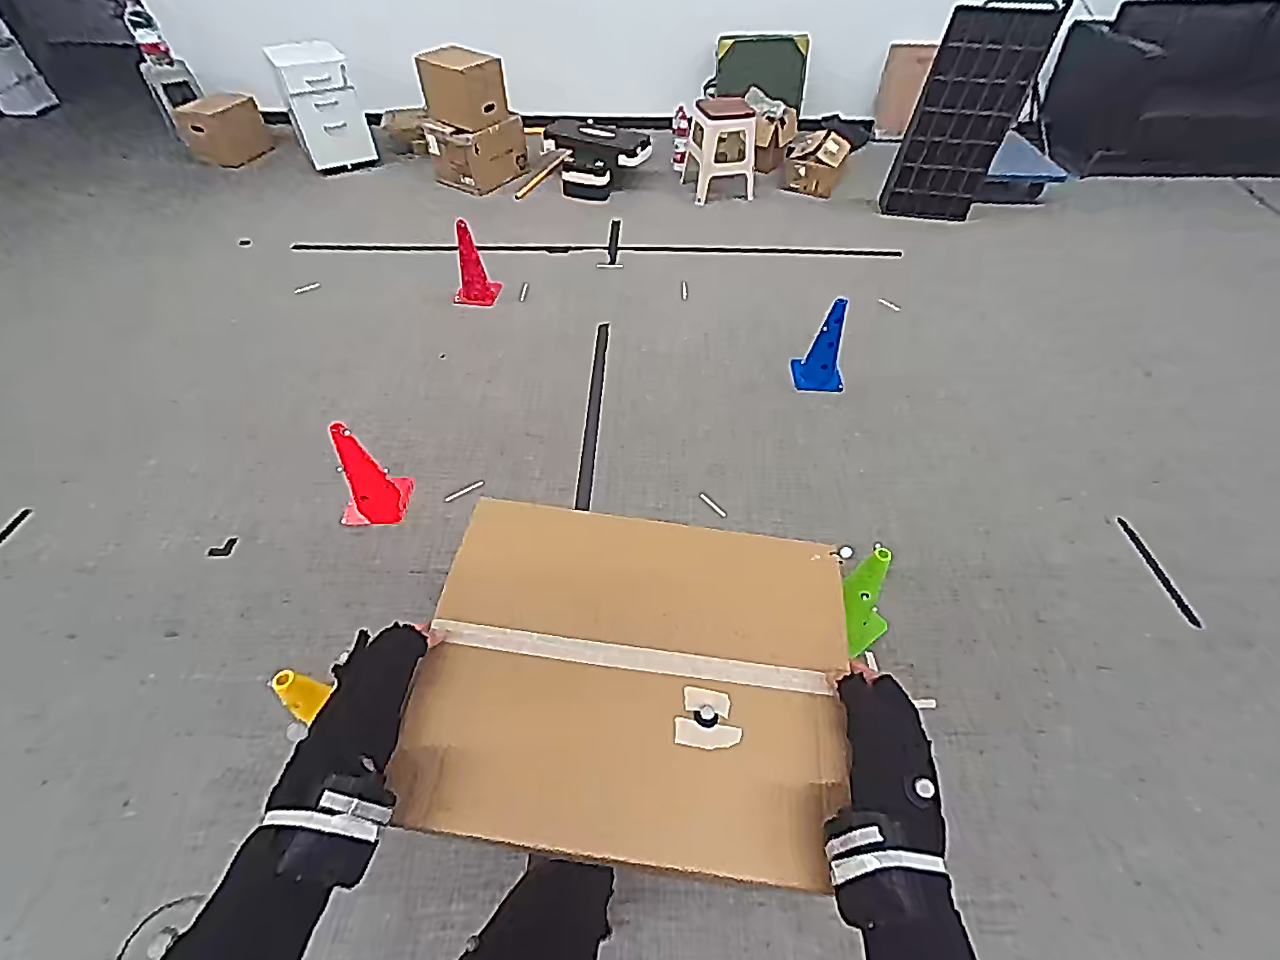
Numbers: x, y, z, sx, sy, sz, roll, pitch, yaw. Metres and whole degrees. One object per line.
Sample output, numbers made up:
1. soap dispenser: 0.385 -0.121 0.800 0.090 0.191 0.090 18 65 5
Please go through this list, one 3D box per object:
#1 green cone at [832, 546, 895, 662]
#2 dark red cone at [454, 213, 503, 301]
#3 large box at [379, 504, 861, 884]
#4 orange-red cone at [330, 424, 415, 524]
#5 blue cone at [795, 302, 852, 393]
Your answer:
1. green cone: 0.593 0.297 1.444 0.202 0.368 0.200 -28 56 -24
2. dark red cone: -0.787 -1.043 2.532 0.201 0.394 0.202 6 50 3
3. large box: -0.012 0.260 0.641 0.408 0.320 0.320 8 54 2
4. orange-red cone: -0.883 -0.038 1.712 0.198 0.360 0.199 -1 51 -1
5. blue cone: 0.768 -0.544 2.181 0.192 0.380 0.193 4 50 2
